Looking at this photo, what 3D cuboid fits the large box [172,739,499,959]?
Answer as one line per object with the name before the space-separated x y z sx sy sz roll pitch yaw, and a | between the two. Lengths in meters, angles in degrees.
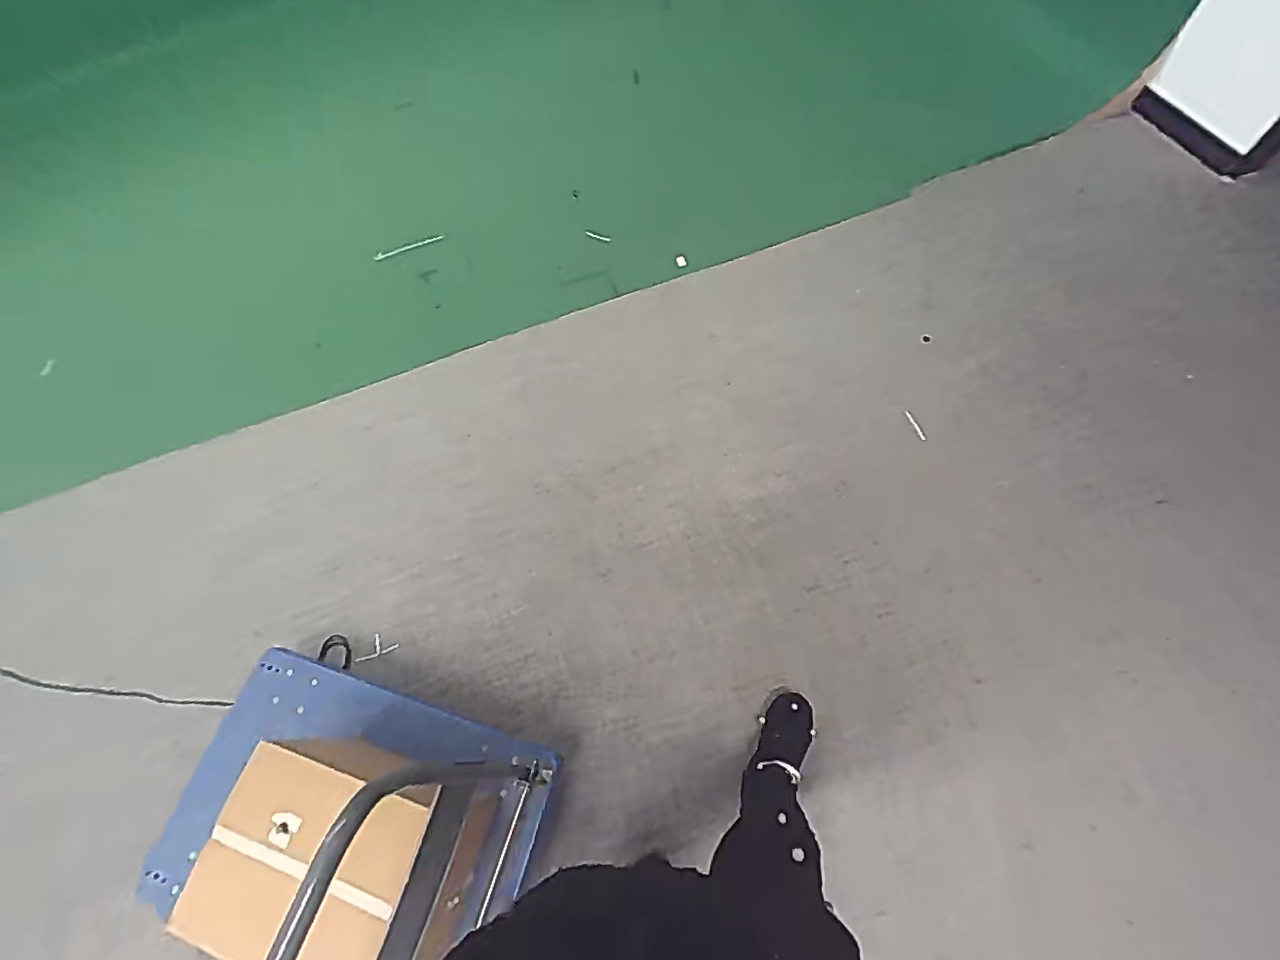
large box | -0.561 0.739 1.077 0.408 0.320 0.320 12 67 14
